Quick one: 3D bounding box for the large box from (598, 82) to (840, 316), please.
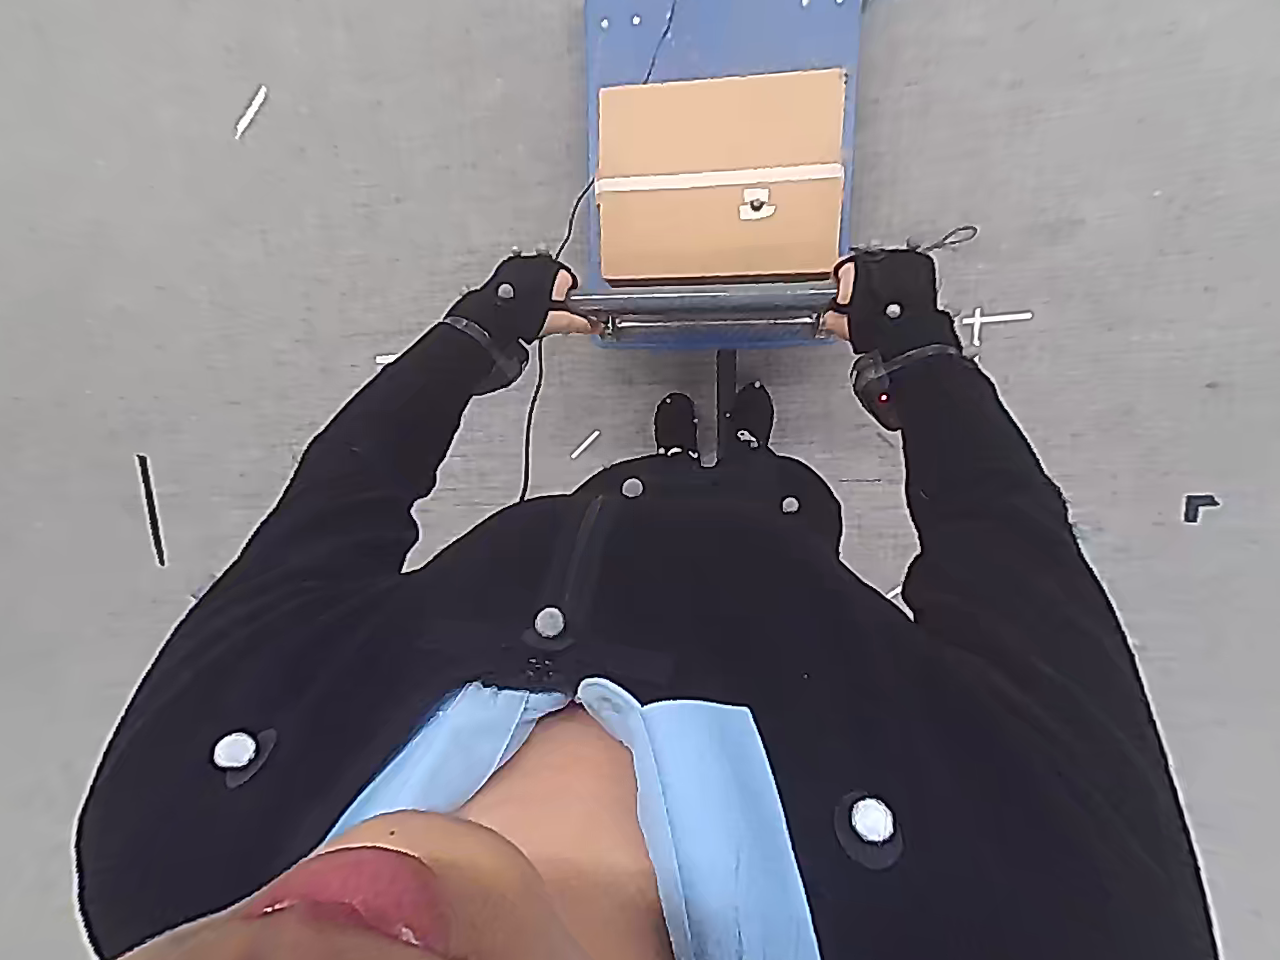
[{"bbox_3d":[0.144,-0.510,1.059,0.408,0.320,0.320,1,99,7],"label":"large box"}]
